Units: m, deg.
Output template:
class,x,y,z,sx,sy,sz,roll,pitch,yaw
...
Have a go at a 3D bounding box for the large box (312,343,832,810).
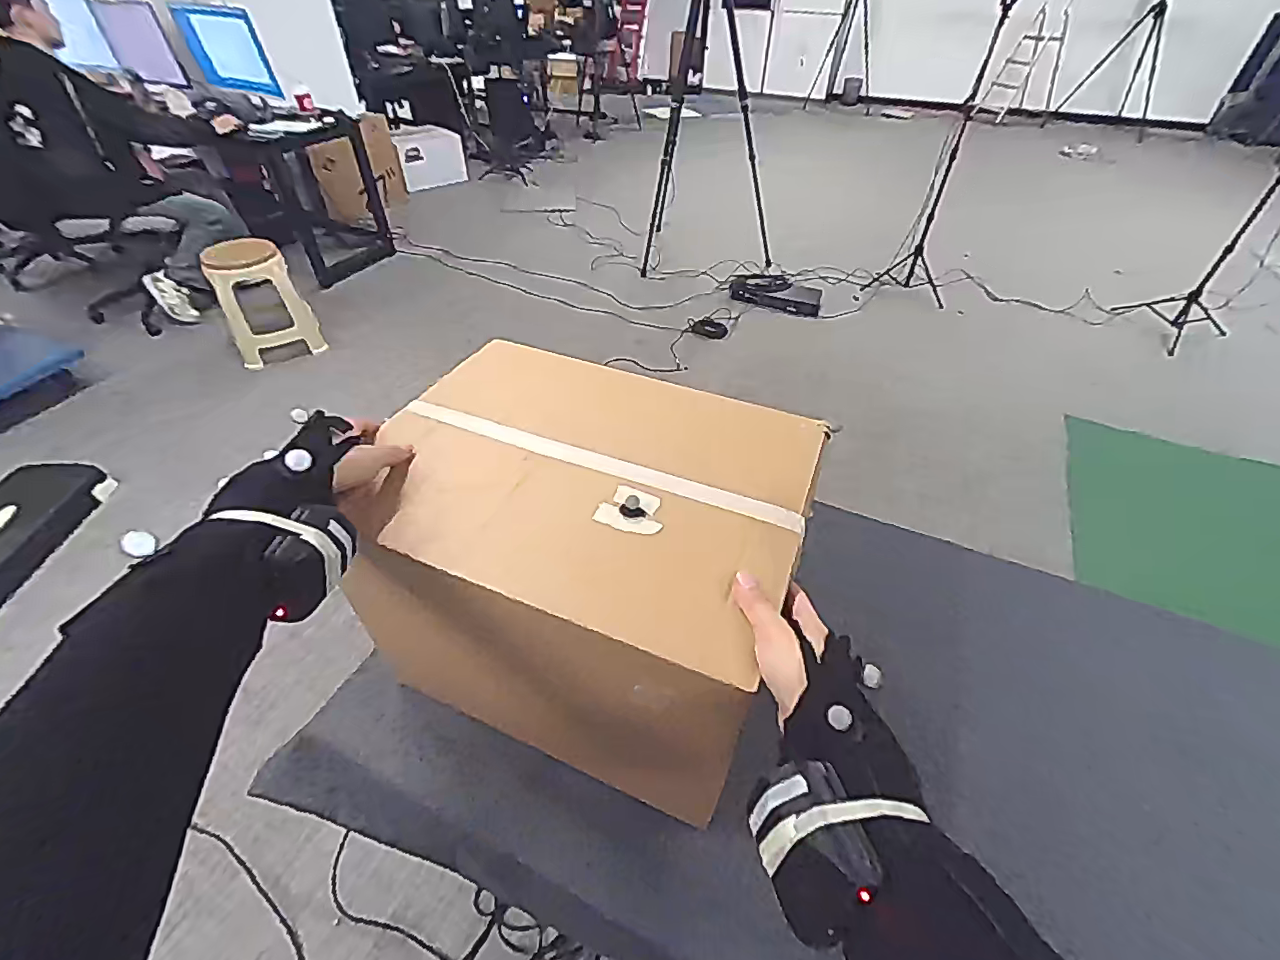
class,x,y,z,sx,sy,sz,roll,pitch,yaw
large box,-0.046,0.091,0.610,0.408,0.320,0.320,18,47,14
